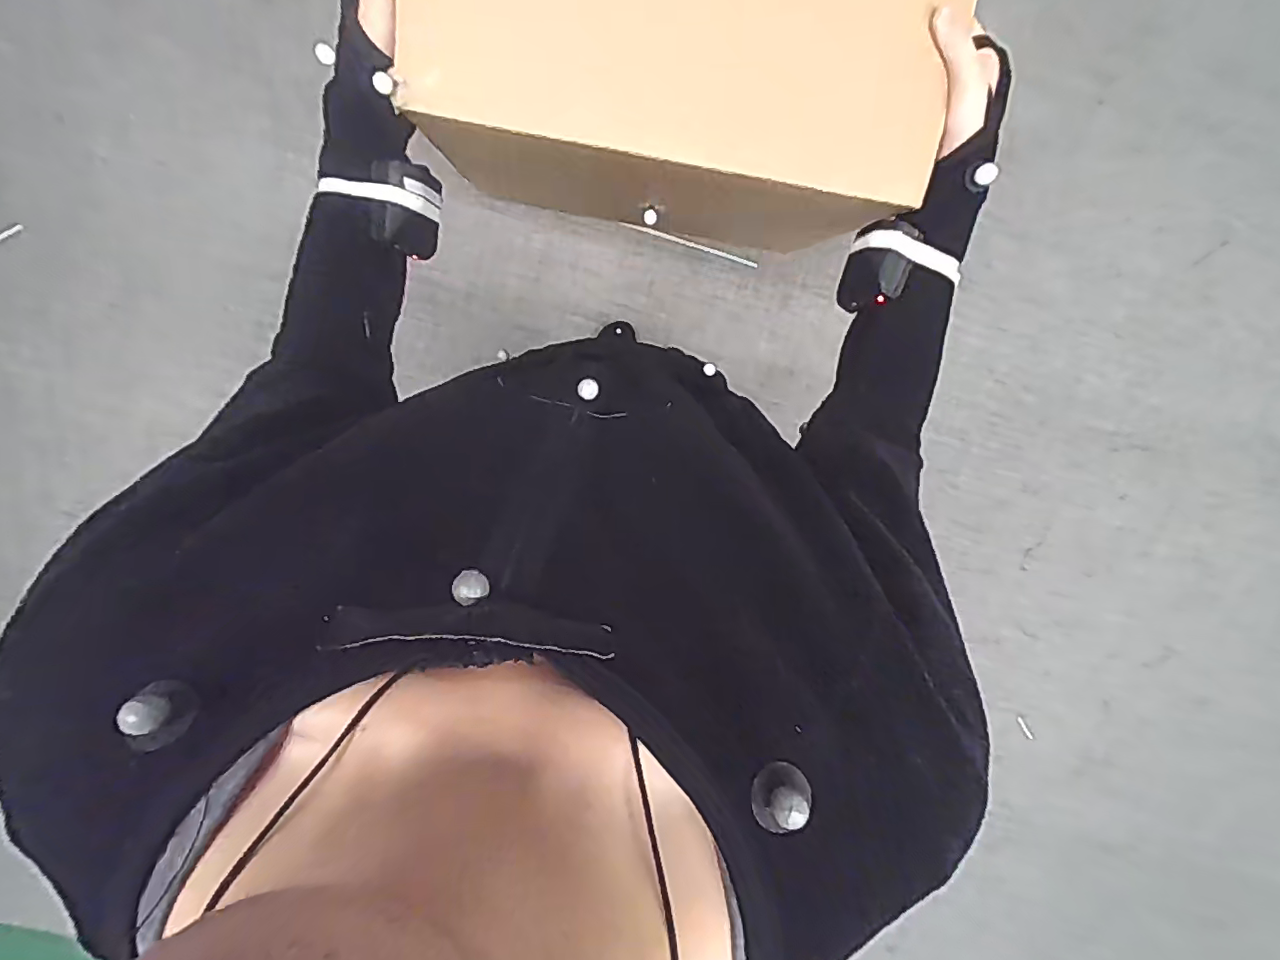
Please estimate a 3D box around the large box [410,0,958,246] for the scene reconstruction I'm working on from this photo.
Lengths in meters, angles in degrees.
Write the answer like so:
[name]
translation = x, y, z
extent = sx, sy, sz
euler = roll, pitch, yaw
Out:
[large box]
translation = 0.036, -0.430, 0.523
extent = 0.408, 0.320, 0.320
euler = 7, 106, -6
